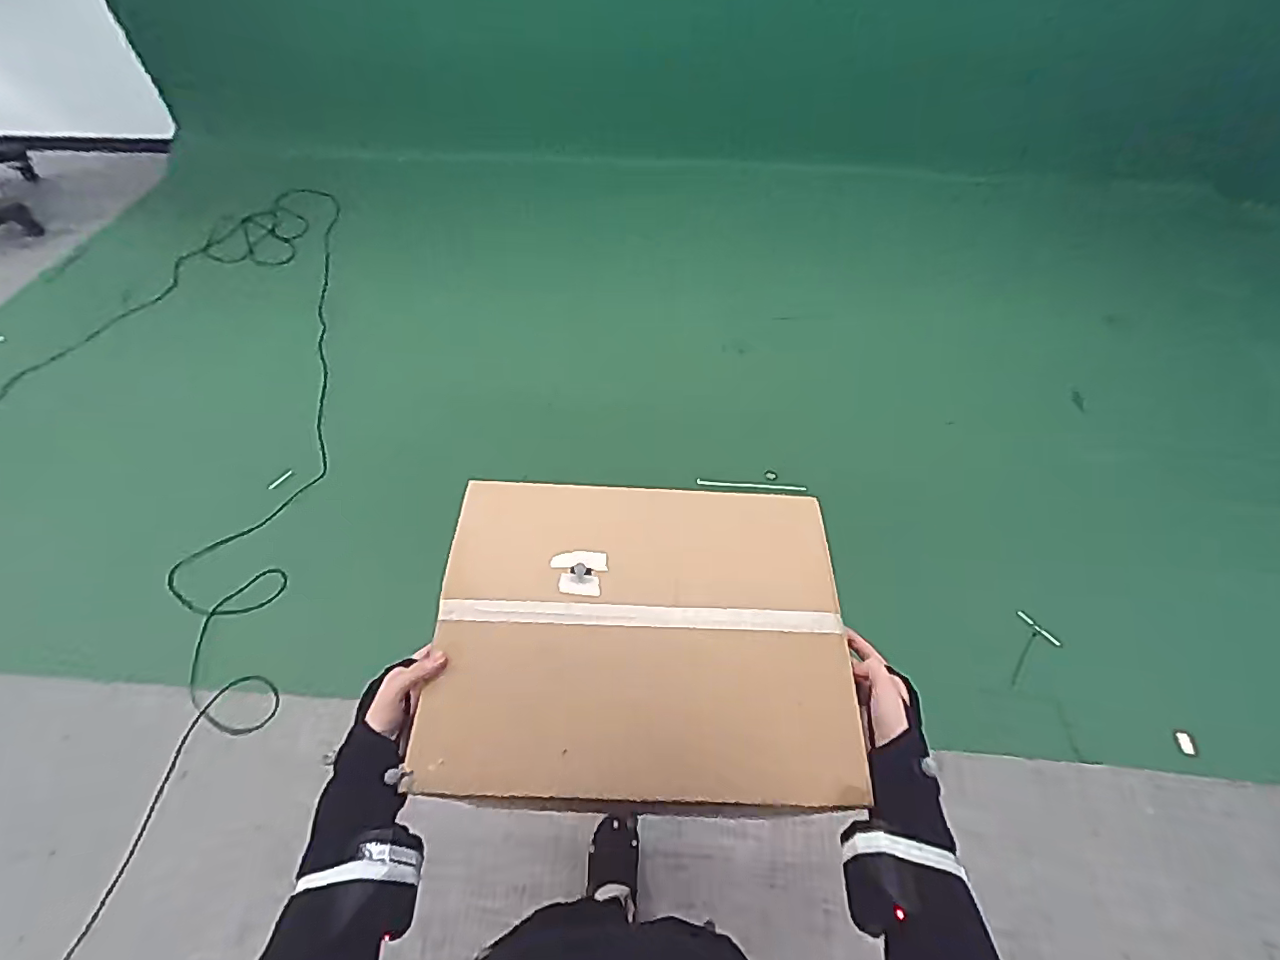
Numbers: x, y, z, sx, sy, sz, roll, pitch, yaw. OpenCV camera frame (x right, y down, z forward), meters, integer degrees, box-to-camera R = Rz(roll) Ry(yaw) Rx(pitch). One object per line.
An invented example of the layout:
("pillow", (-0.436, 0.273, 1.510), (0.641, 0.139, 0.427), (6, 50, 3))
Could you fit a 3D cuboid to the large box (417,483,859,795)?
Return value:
("large box", (0.000, 0.217, 0.685), (0.408, 0.320, 0.320), (2, 57, 0))
